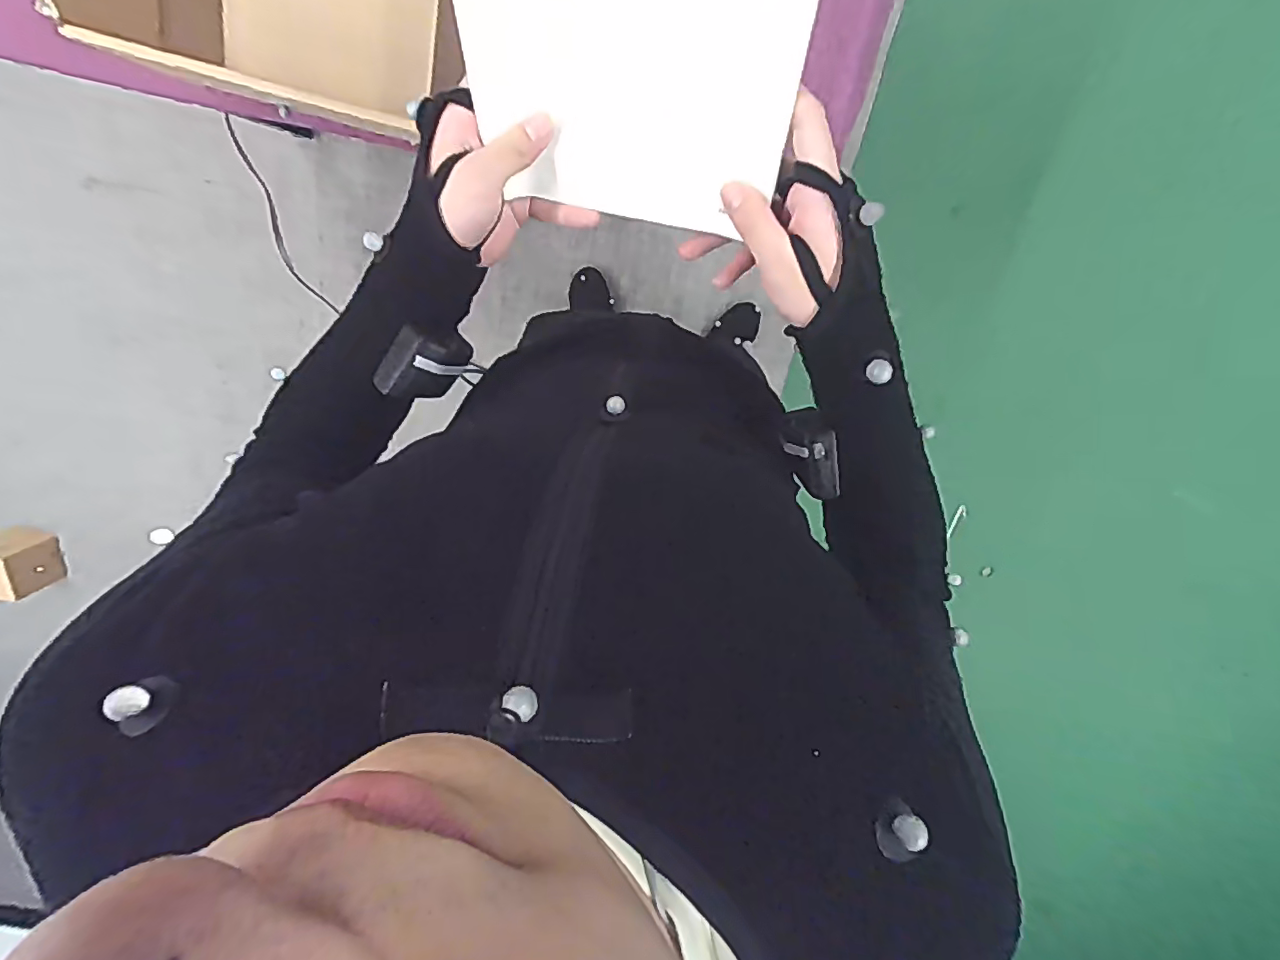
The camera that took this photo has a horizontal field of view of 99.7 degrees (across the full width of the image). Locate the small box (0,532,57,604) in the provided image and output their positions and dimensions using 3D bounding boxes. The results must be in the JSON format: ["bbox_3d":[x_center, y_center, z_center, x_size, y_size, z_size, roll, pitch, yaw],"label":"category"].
[{"bbox_3d":[-2.098,0.287,1.788,0.179,0.176,0.168,9,111,-1],"label":"small box"}]

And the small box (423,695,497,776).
[{"bbox_3d":[-0.656,0.938,1.991,0.168,0.176,0.179,43,107,-14],"label":"small box"}]
